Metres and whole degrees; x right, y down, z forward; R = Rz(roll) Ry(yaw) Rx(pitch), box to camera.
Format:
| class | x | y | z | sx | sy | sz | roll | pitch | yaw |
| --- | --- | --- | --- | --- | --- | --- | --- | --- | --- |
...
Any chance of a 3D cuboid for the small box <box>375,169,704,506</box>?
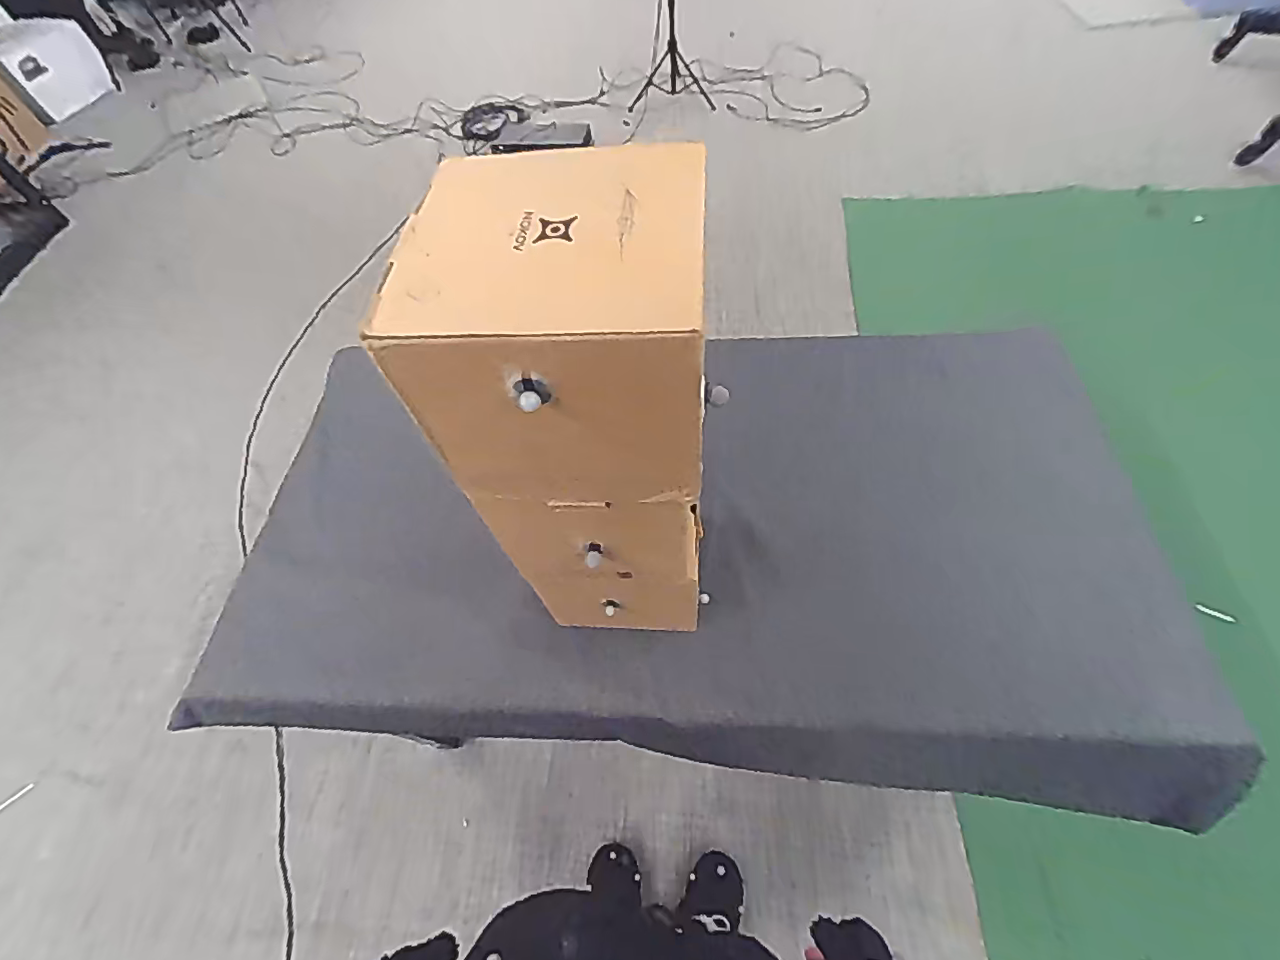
| class | x | y | z | sx | sy | sz | roll | pitch | yaw |
| --- | --- | --- | --- | --- | --- | --- | --- | --- | --- |
| small box | -0.044 | -0.091 | 0.386 | 0.179 | 0.176 | 0.168 | 1 | 58 | 6 |

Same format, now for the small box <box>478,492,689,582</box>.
| class | x | y | z | sx | sy | sz | roll | pitch | yaw |
| --- | --- | --- | --- | --- | --- | --- | --- | --- | --- |
| small box | -0.036 | -0.009 | 0.527 | 0.168 | 0.176 | 0.179 | 0 | 57 | 5 |

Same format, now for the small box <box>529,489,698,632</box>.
| class | x | y | z | sx | sy | sz | roll | pitch | yaw |
| --- | --- | --- | --- | --- | --- | --- | --- | --- | --- |
| small box | -0.018 | 0.080 | 0.662 | 0.179 | 0.176 | 0.168 | 0 | 57 | 7 |
